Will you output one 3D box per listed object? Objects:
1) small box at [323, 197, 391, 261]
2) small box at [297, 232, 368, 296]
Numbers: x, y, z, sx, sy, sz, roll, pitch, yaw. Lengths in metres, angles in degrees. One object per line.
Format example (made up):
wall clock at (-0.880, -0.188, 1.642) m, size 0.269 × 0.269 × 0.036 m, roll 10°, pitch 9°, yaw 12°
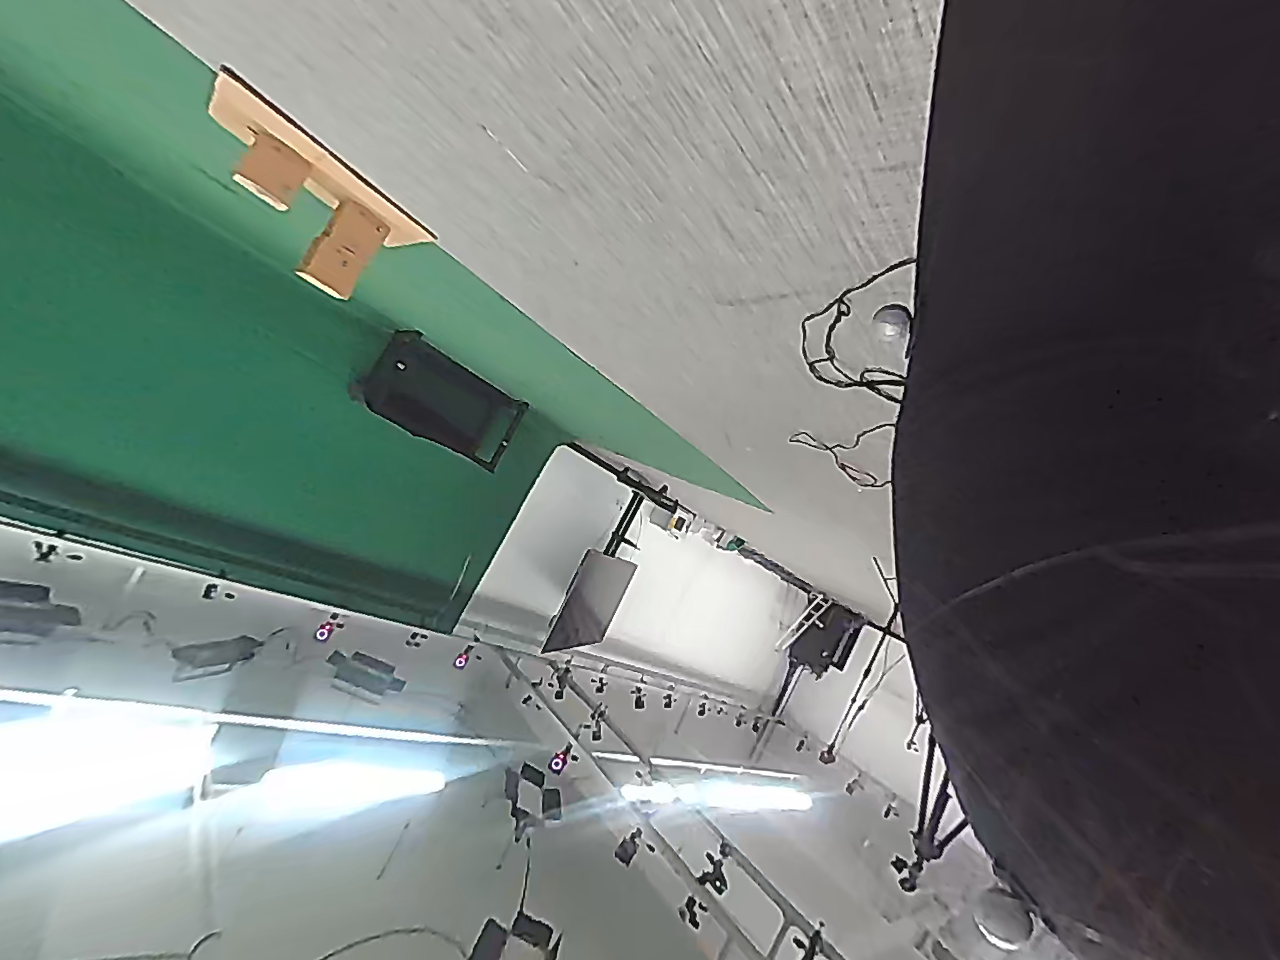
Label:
small box at (-1.108, -0.983, 2.121) m, size 0.179 × 0.176 × 0.168 m, roll 25°, pitch 174°, yaw 45°
small box at (-1.197, -0.847, 2.113) m, size 0.179 × 0.176 × 0.168 m, roll 24°, pitch 173°, yaw 44°
